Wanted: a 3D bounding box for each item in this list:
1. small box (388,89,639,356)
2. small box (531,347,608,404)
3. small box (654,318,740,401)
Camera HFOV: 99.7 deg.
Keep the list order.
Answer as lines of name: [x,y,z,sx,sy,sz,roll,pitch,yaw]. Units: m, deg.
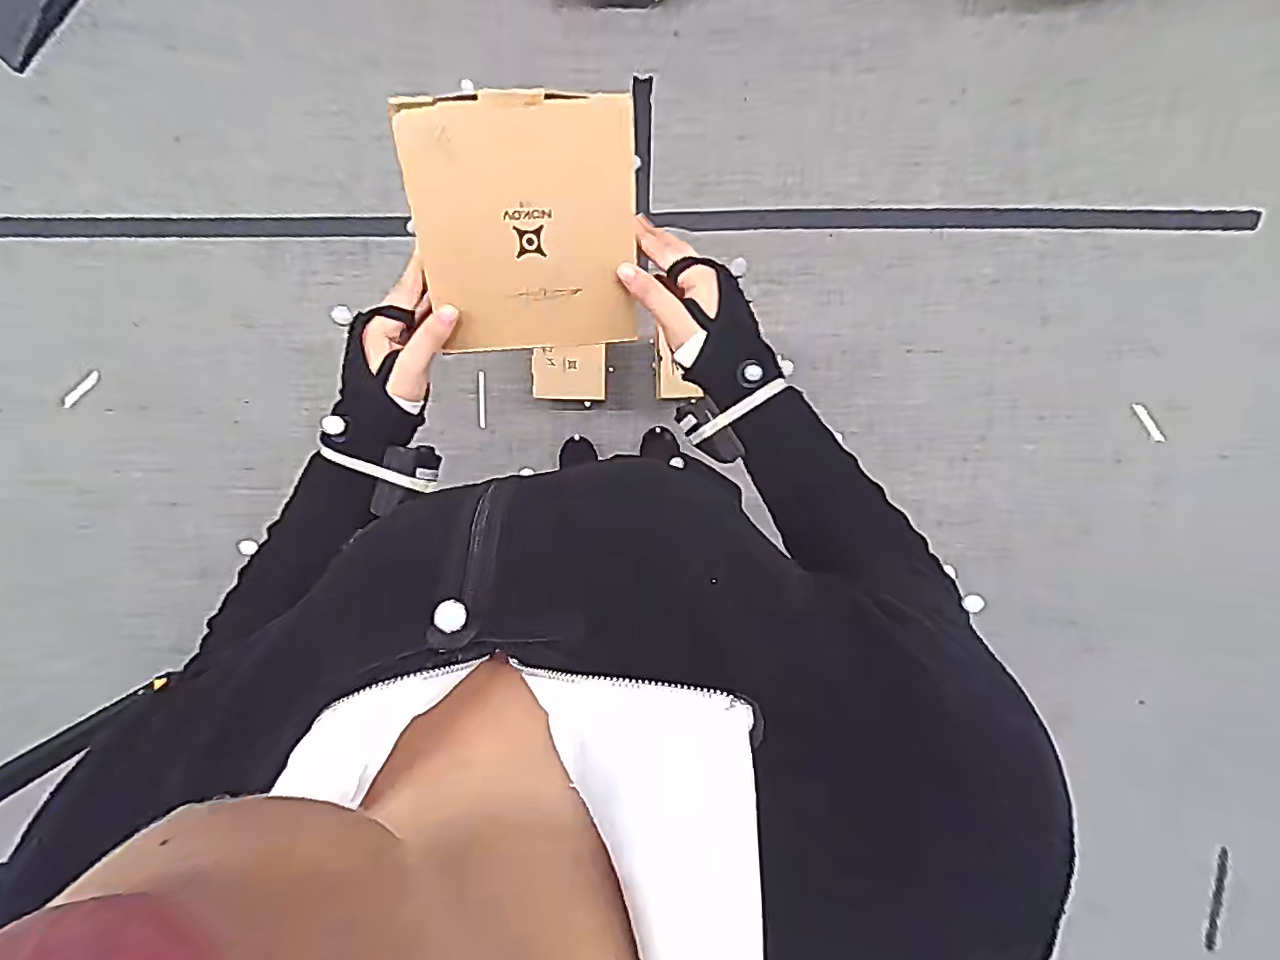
small box: [-0.094,-0.220,0.464,0.168,0.176,0.179,-5,123,-7]
small box: [-0.172,-0.279,1.362,0.179,0.176,0.168,1,98,0]
small box: [0.120,-0.260,1.201,0.179,0.176,0.168,-2,98,-1]
